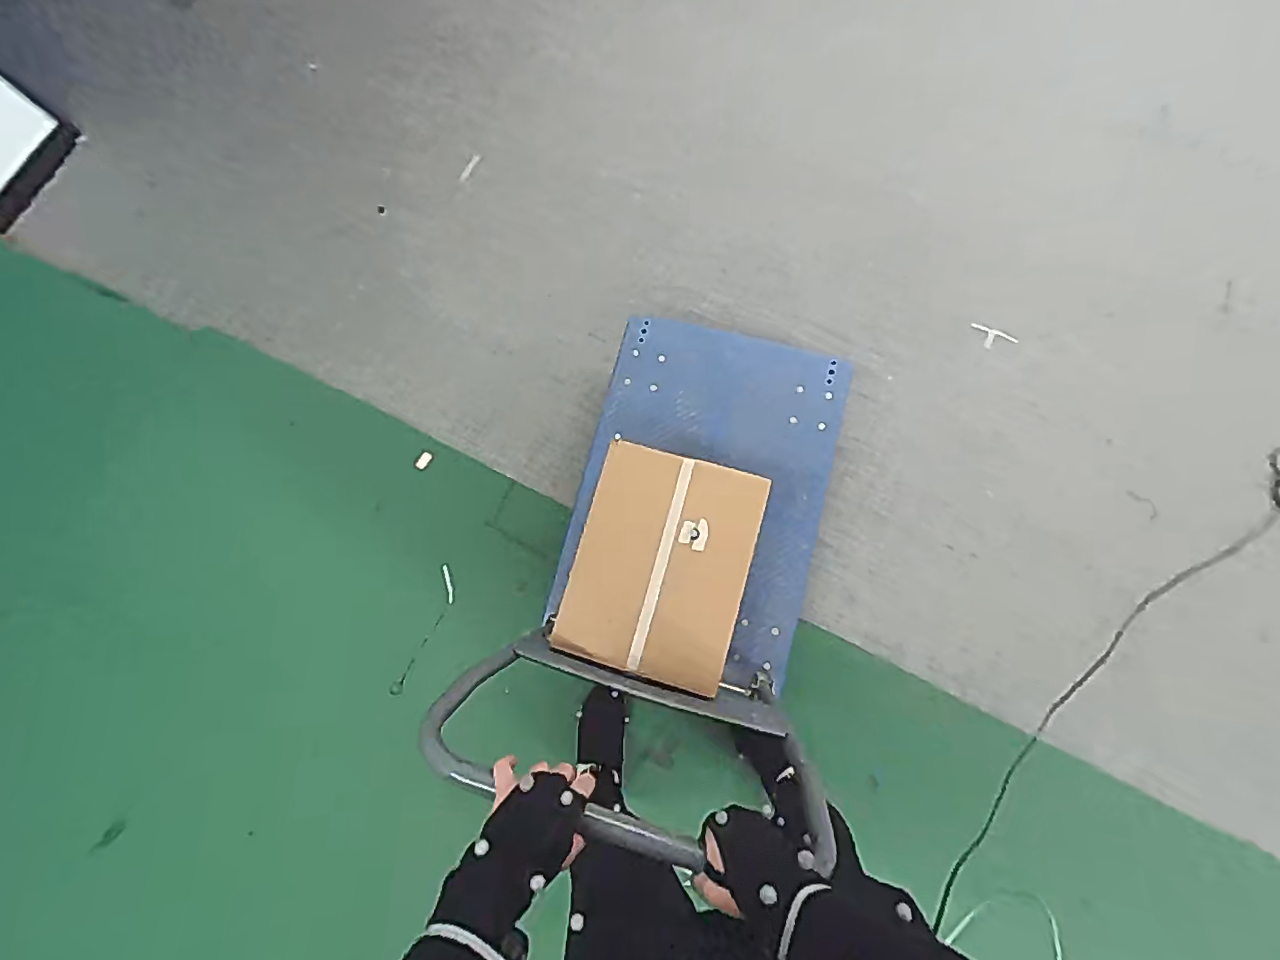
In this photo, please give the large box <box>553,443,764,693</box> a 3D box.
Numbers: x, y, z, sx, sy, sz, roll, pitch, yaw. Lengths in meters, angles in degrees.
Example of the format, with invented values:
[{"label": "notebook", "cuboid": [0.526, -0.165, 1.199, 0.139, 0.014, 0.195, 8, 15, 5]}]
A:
[{"label": "large box", "cuboid": [0.050, 0.183, 1.143, 0.320, 0.320, 0.408, 15, 80, 7]}]
